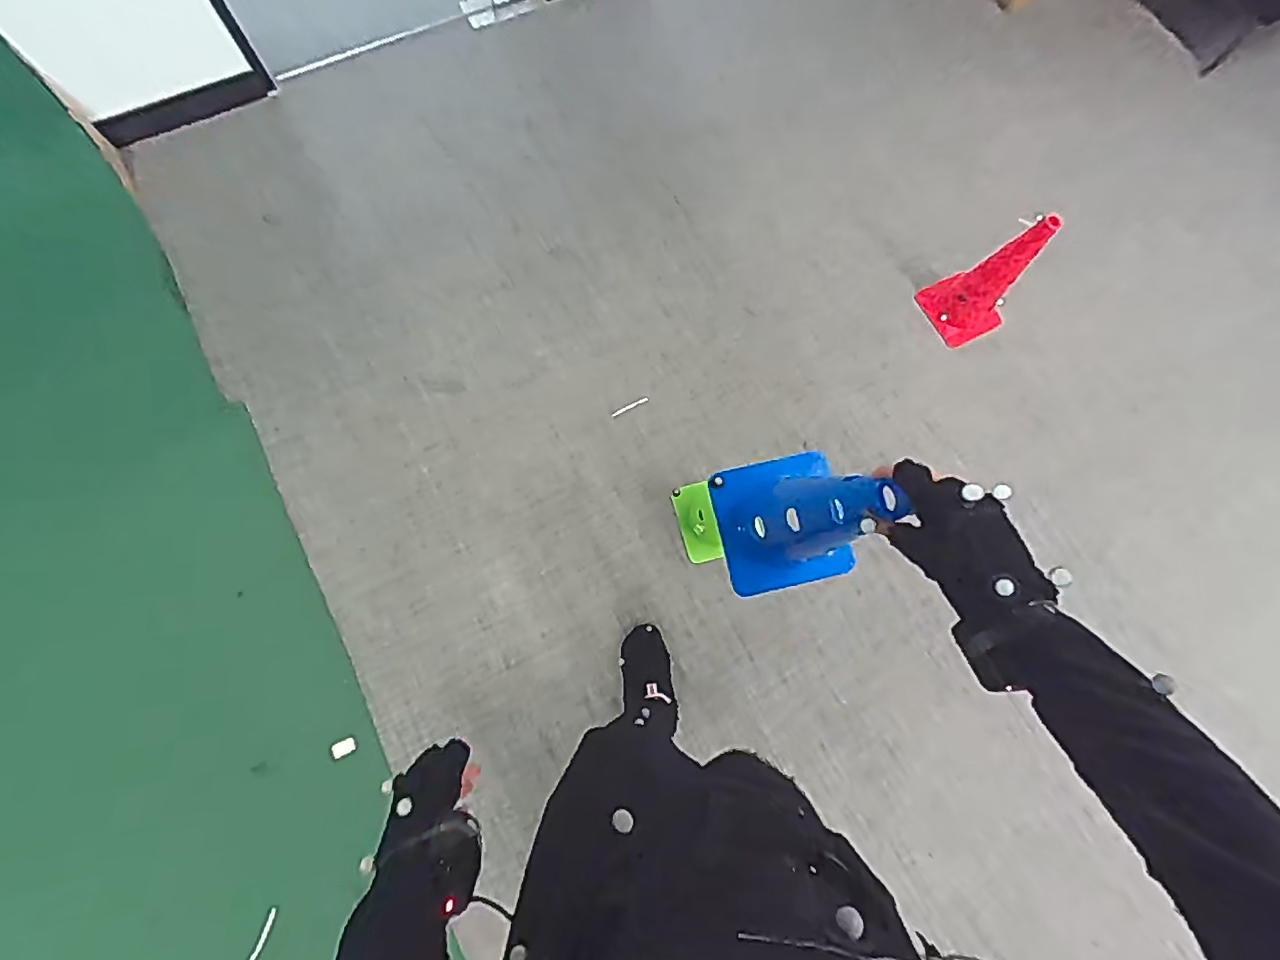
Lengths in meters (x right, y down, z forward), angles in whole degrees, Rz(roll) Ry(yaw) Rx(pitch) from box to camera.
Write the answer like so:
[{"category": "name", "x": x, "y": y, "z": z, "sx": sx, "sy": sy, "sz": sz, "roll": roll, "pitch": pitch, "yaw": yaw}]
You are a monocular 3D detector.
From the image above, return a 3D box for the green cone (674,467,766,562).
[{"category": "green cone", "x": 0.213, "y": 0.049, "z": 1.222, "sx": 0.202, "sy": 0.368, "sz": 0.200, "roll": -15, "pitch": 75, "yaw": -7}]
